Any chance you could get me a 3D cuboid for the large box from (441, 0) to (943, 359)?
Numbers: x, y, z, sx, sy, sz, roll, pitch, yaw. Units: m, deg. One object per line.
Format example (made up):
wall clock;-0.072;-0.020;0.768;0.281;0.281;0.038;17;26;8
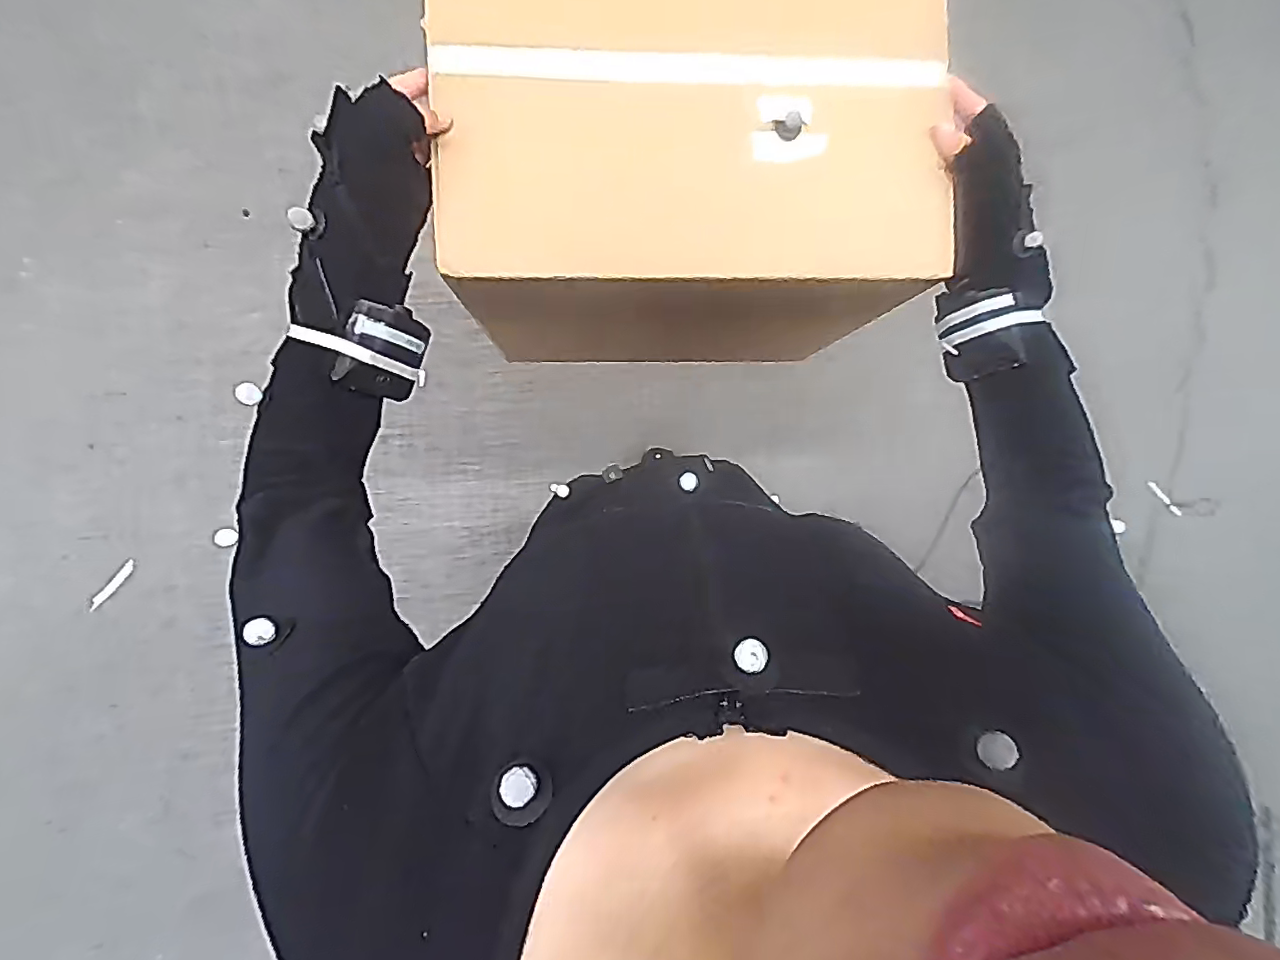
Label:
large box;0.032;-0.320;0.577;0.408;0.320;0.320;-2;91;-5
